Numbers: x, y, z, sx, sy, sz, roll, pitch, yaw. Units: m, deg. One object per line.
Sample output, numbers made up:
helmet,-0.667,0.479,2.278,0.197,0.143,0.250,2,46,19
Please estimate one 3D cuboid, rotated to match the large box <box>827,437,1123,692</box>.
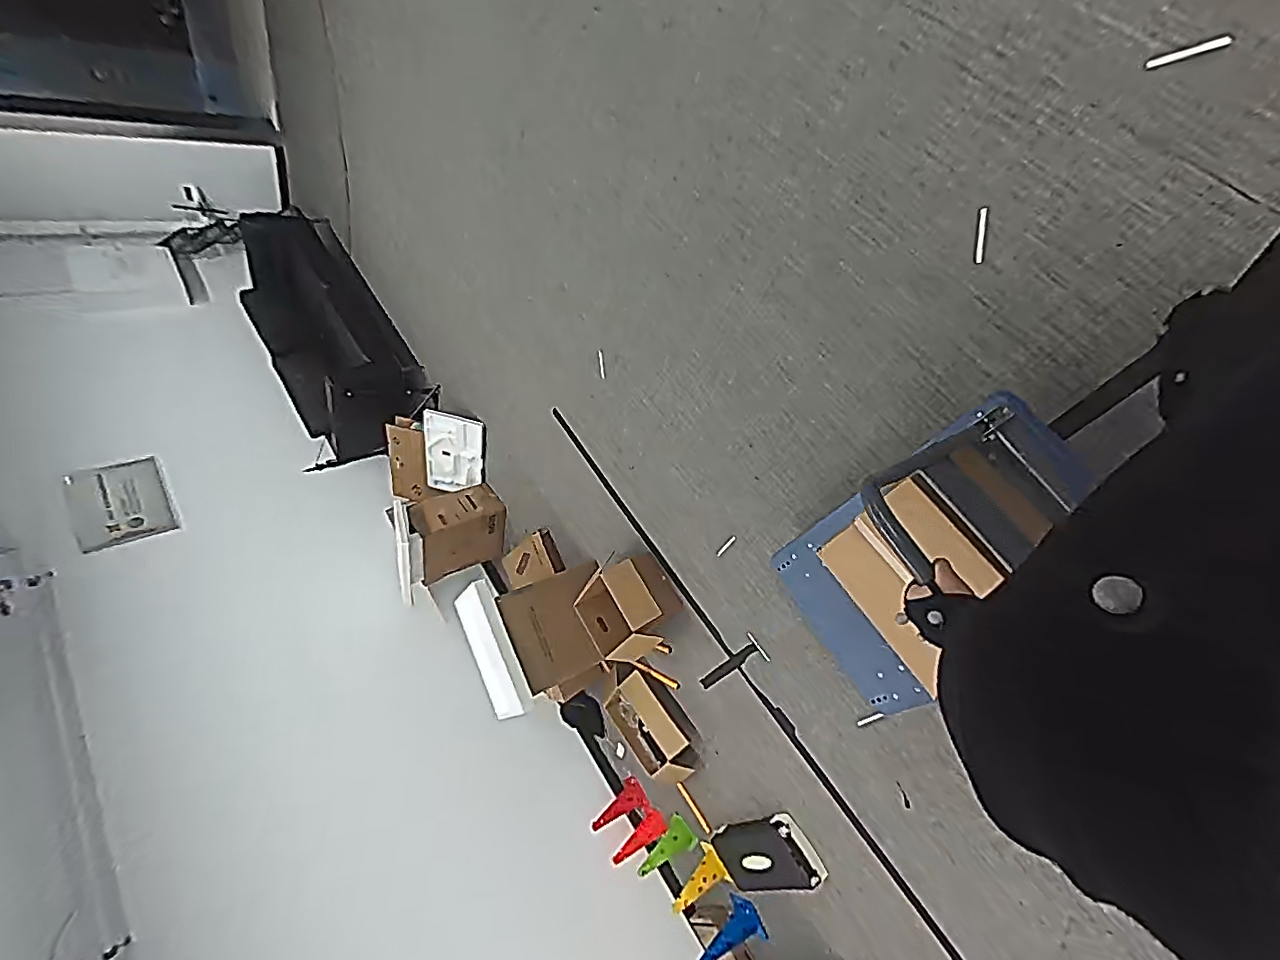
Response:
large box,0.718,0.174,1.192,0.408,0.320,0.320,55,140,21
